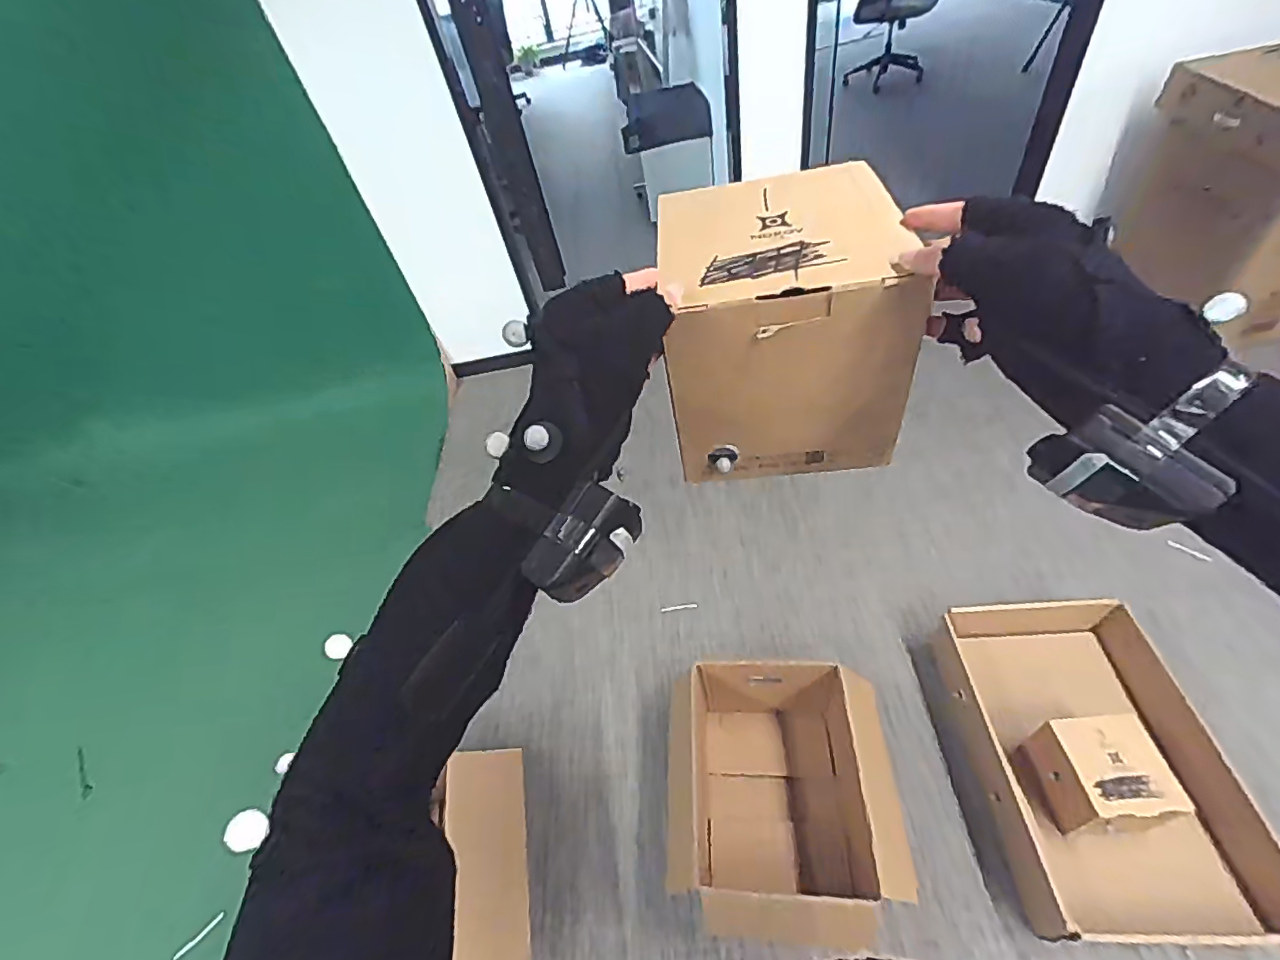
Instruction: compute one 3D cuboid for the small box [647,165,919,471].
[{"bbox_3d":[0.103,-0.120,0.438,0.168,0.176,0.179,-5,48,9],"label":"small box"}]
